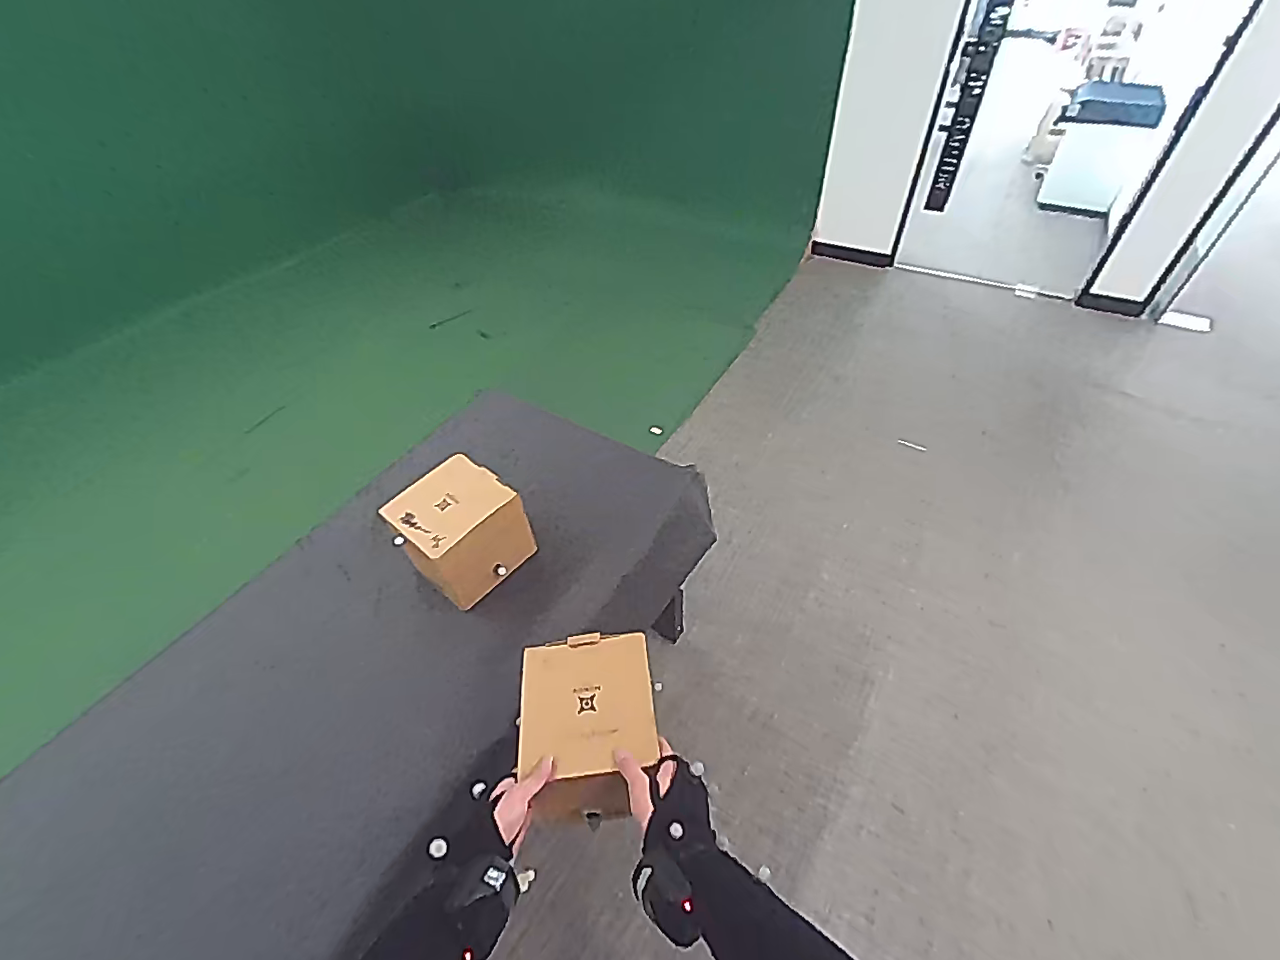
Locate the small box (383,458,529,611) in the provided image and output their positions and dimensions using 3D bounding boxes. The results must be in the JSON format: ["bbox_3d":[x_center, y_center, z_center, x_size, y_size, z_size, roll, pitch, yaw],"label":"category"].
[{"bbox_3d":[-0.318,0.099,0.977,0.168,0.176,0.179,31,56,28],"label":"small box"}]

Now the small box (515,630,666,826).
[{"bbox_3d":[-0.057,0.326,0.713,0.168,0.176,0.179,-7,42,0],"label":"small box"}]
